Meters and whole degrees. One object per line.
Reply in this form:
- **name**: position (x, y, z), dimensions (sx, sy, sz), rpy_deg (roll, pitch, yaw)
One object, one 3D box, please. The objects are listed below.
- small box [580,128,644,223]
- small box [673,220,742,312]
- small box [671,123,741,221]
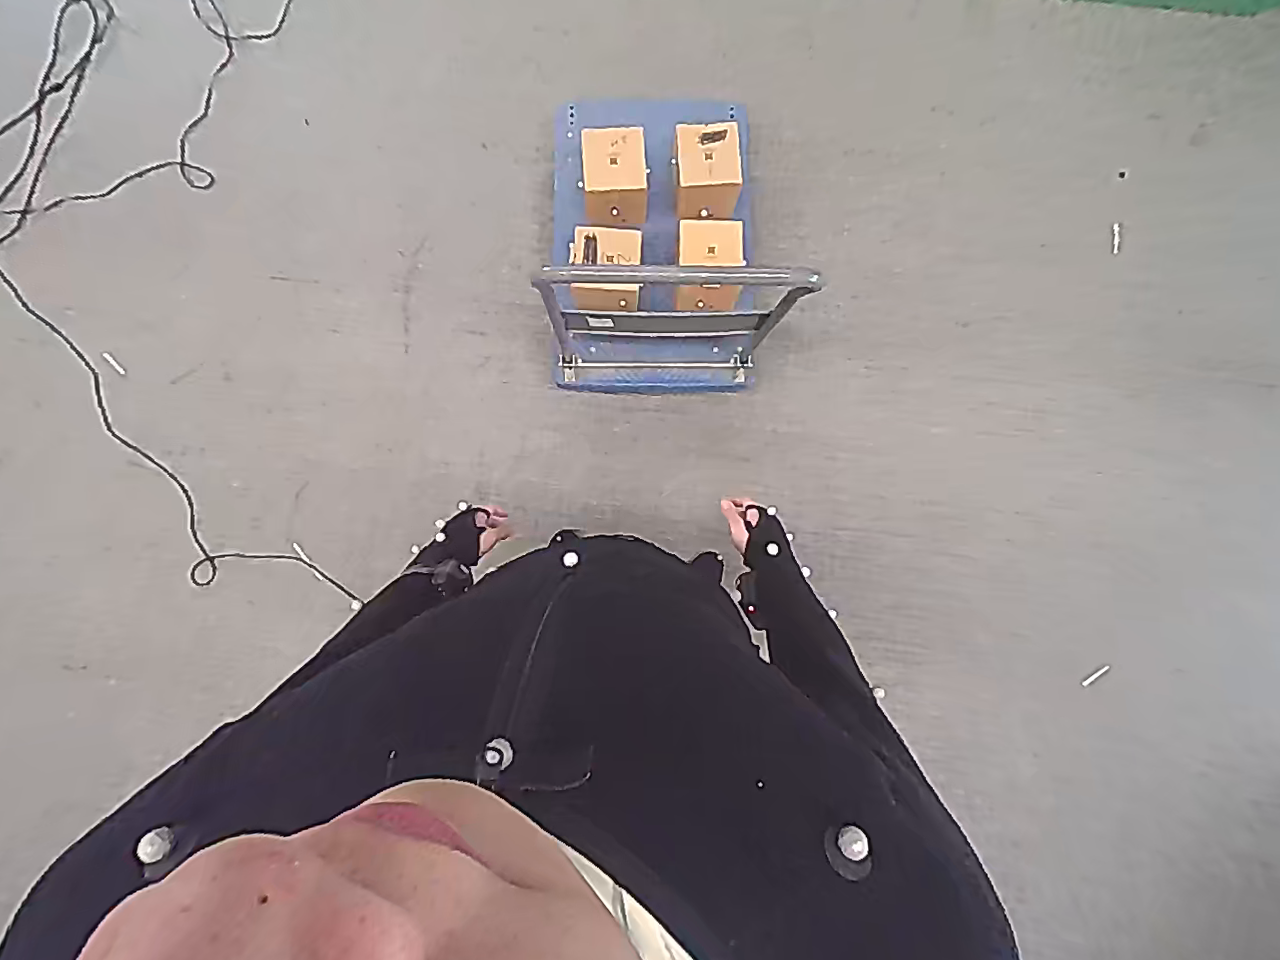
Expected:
- **small box**: position (-0.075, -0.831, 1.494), dimensions (0.168, 0.176, 0.179), rpy_deg (-3, 85, -2)
- **small box**: position (0.180, -0.580, 1.477), dimensions (0.168, 0.176, 0.179), rpy_deg (1, 85, -2)
- **small box**: position (0.177, -0.850, 1.501), dimensions (0.168, 0.176, 0.179), rpy_deg (-4, 86, -1)
